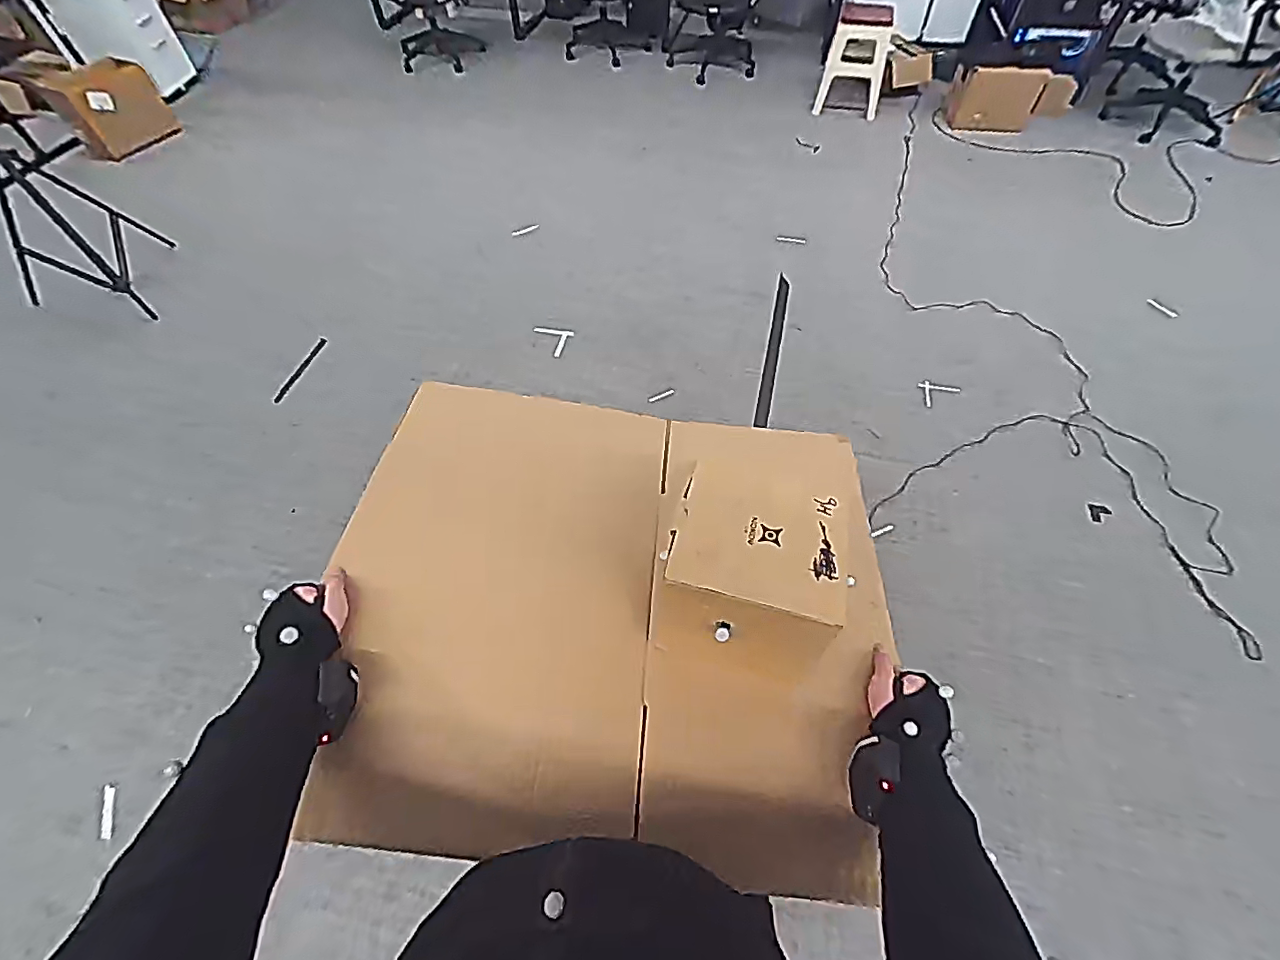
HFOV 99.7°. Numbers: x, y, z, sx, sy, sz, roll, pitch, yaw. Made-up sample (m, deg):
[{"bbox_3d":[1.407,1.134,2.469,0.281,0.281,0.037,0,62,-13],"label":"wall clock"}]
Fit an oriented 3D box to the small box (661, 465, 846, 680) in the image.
[{"bbox_3d":[0.125,0.111,0.629,0.179,0.176,0.168,12,51,9],"label":"small box"}]
